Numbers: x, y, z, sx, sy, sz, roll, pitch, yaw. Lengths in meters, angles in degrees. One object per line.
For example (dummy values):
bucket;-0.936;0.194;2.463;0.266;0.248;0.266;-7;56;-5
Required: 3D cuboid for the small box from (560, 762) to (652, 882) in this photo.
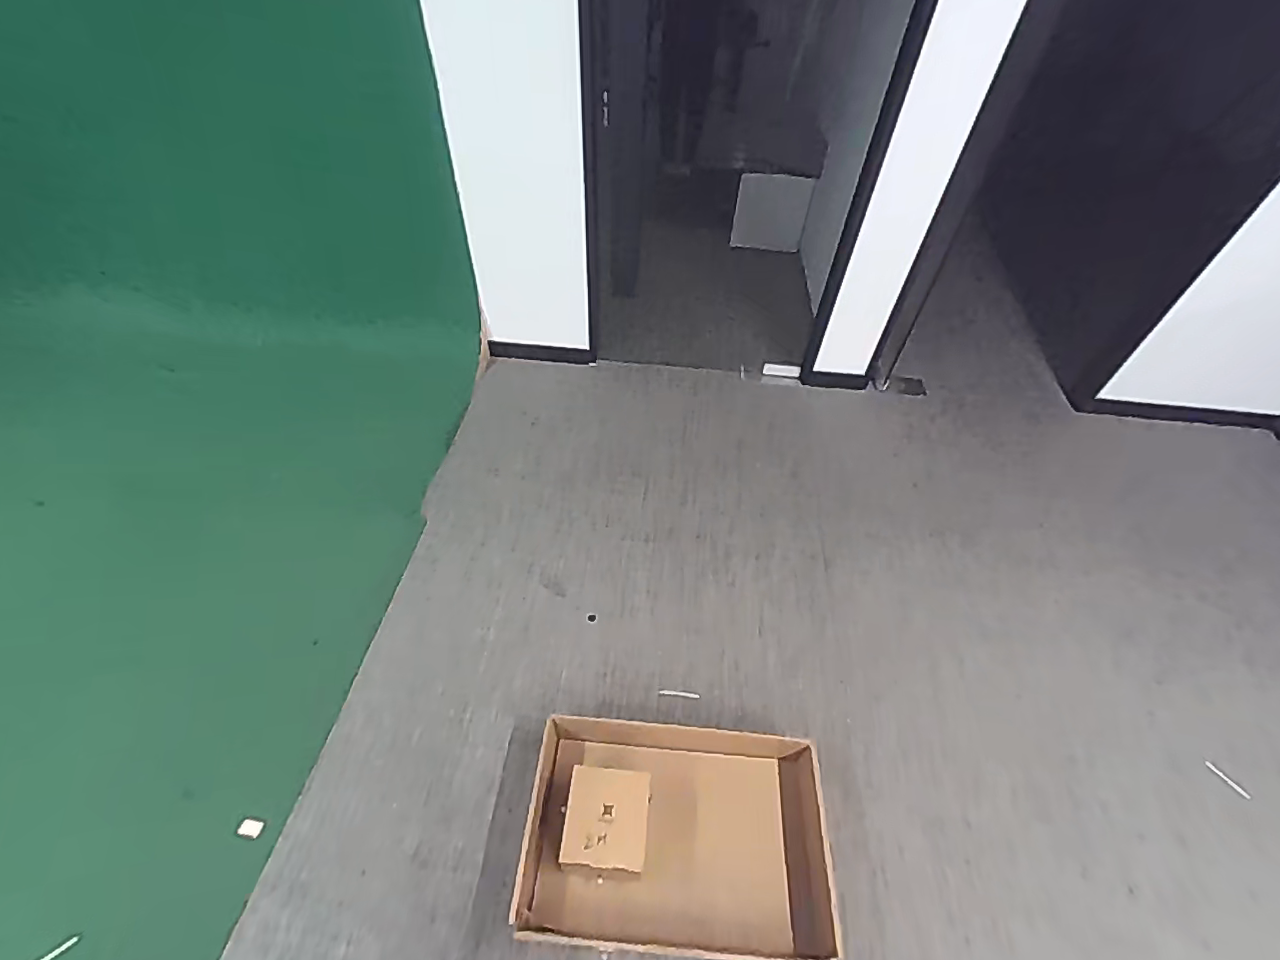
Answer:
small box;-0.069;0.726;1.146;0.168;0.176;0.179;6;48;2
